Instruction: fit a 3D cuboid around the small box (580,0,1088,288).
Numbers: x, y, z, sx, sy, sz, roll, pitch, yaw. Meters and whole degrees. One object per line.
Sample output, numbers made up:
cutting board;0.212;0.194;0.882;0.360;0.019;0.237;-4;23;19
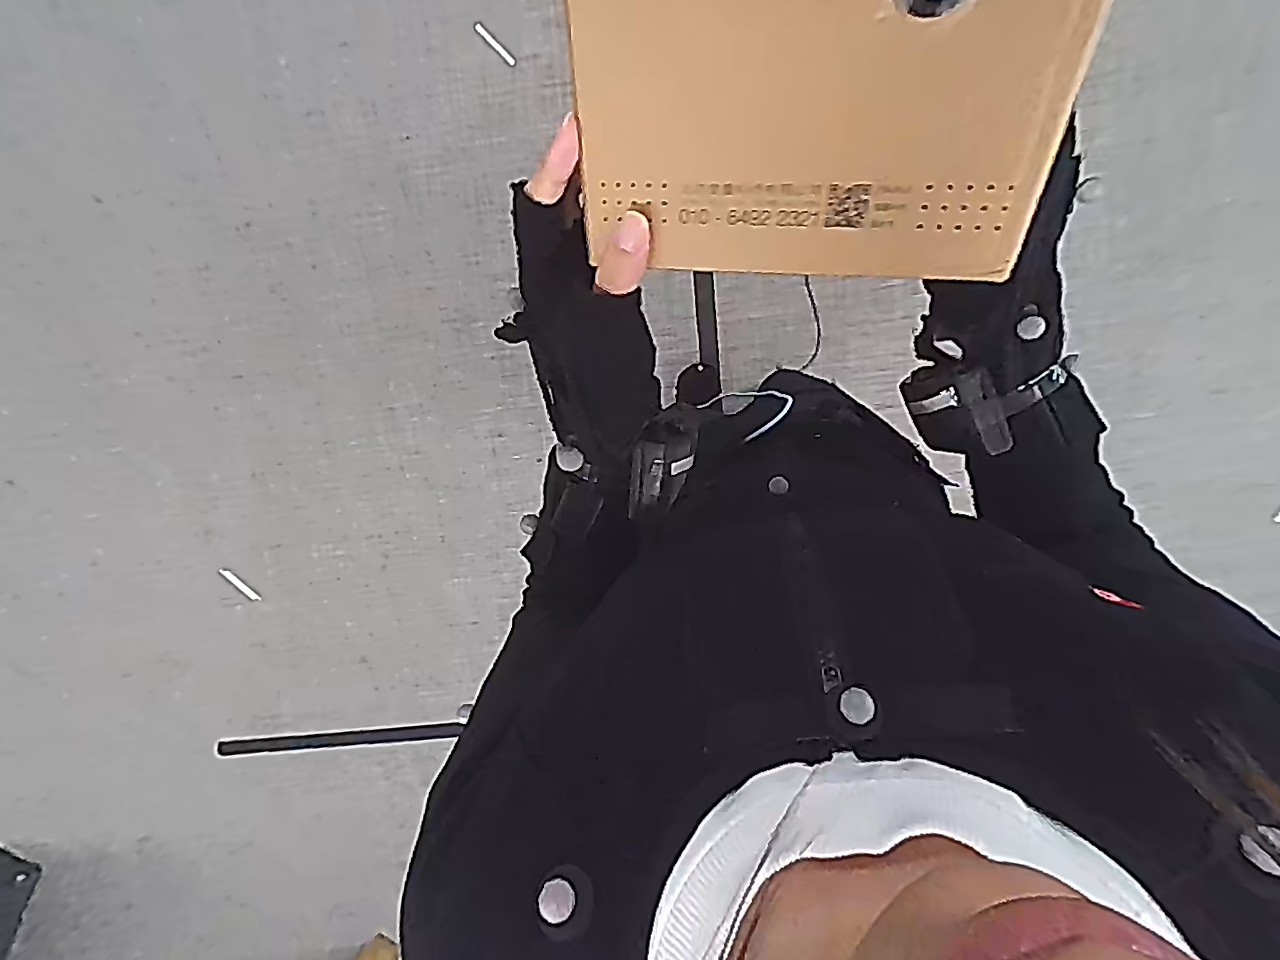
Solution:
small box;0.078;-0.196;0.240;0.168;0.179;0.176;8;129;13
